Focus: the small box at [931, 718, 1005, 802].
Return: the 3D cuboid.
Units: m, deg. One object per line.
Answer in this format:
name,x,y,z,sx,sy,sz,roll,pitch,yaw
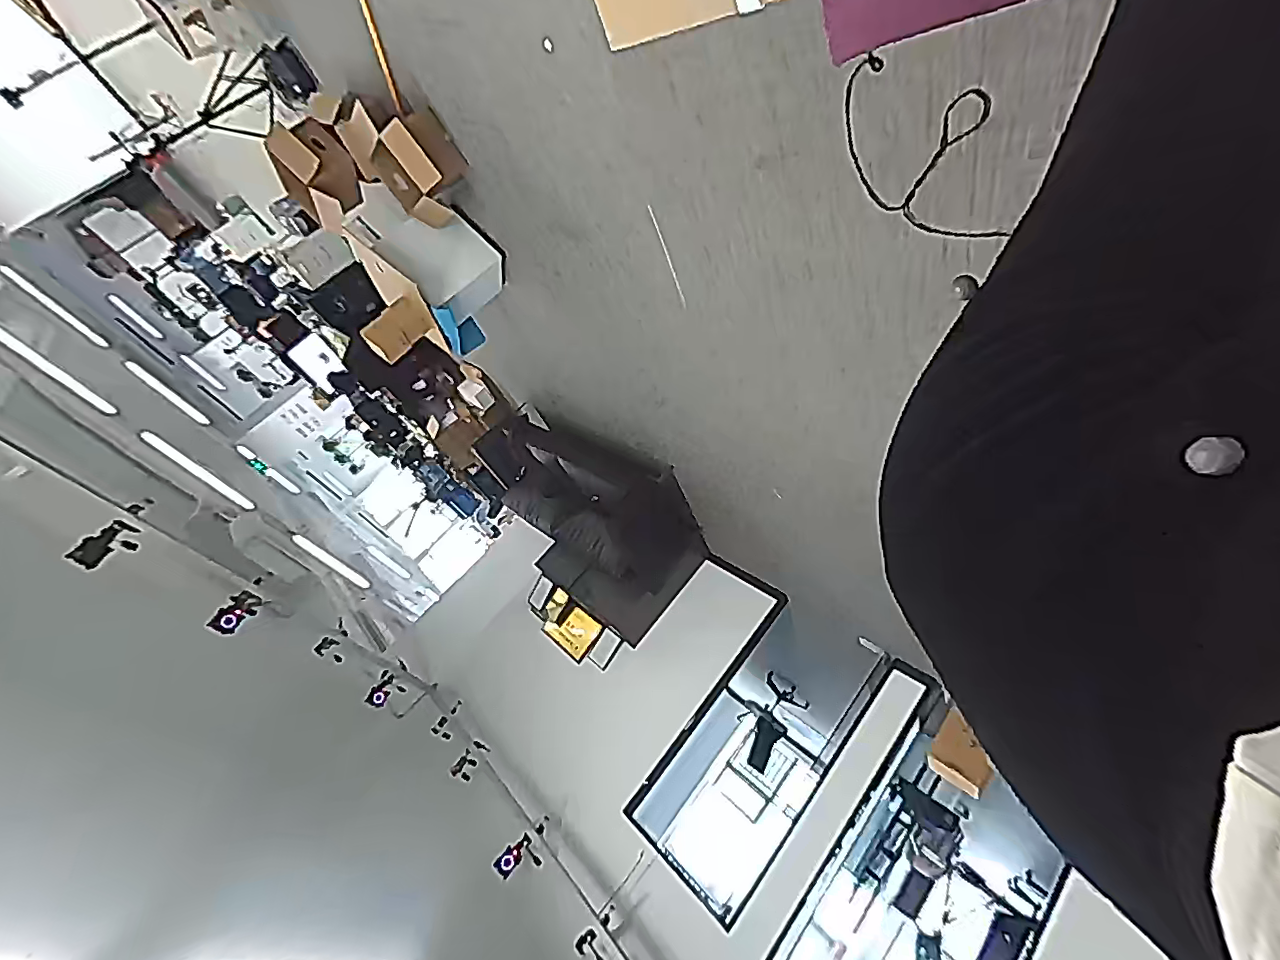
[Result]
small box,1.118,0.949,1.842,0.168,0.176,0.179,25,156,44
